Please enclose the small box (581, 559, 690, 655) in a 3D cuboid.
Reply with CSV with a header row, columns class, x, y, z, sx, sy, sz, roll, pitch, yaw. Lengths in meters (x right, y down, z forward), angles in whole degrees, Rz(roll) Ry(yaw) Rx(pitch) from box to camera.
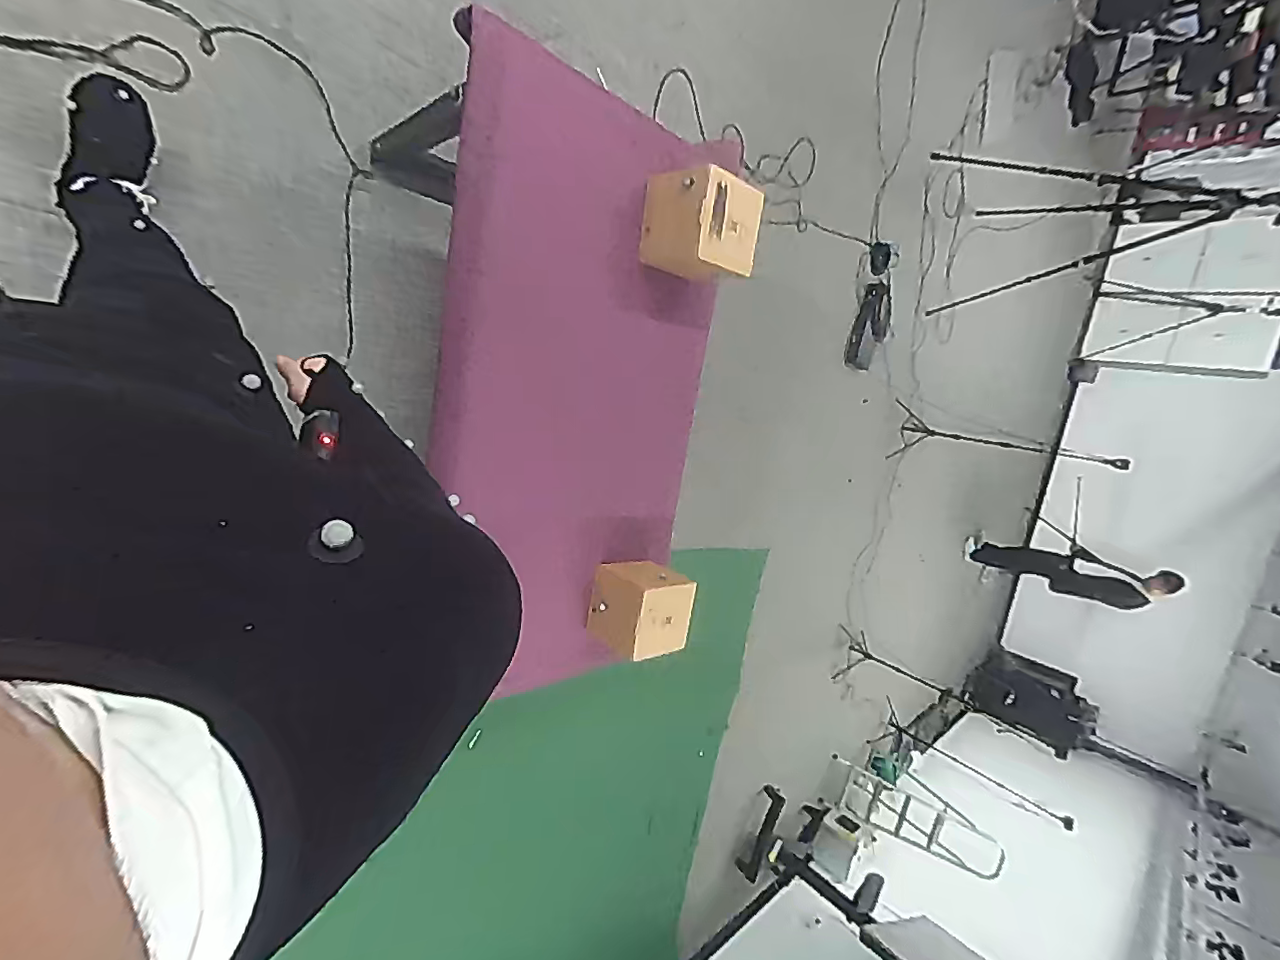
class,x,y,z,sx,sy,sz,roll,pitch,yaw
small box,-0.012,0.290,1.280,0.179,0.176,0.168,4,99,-44
